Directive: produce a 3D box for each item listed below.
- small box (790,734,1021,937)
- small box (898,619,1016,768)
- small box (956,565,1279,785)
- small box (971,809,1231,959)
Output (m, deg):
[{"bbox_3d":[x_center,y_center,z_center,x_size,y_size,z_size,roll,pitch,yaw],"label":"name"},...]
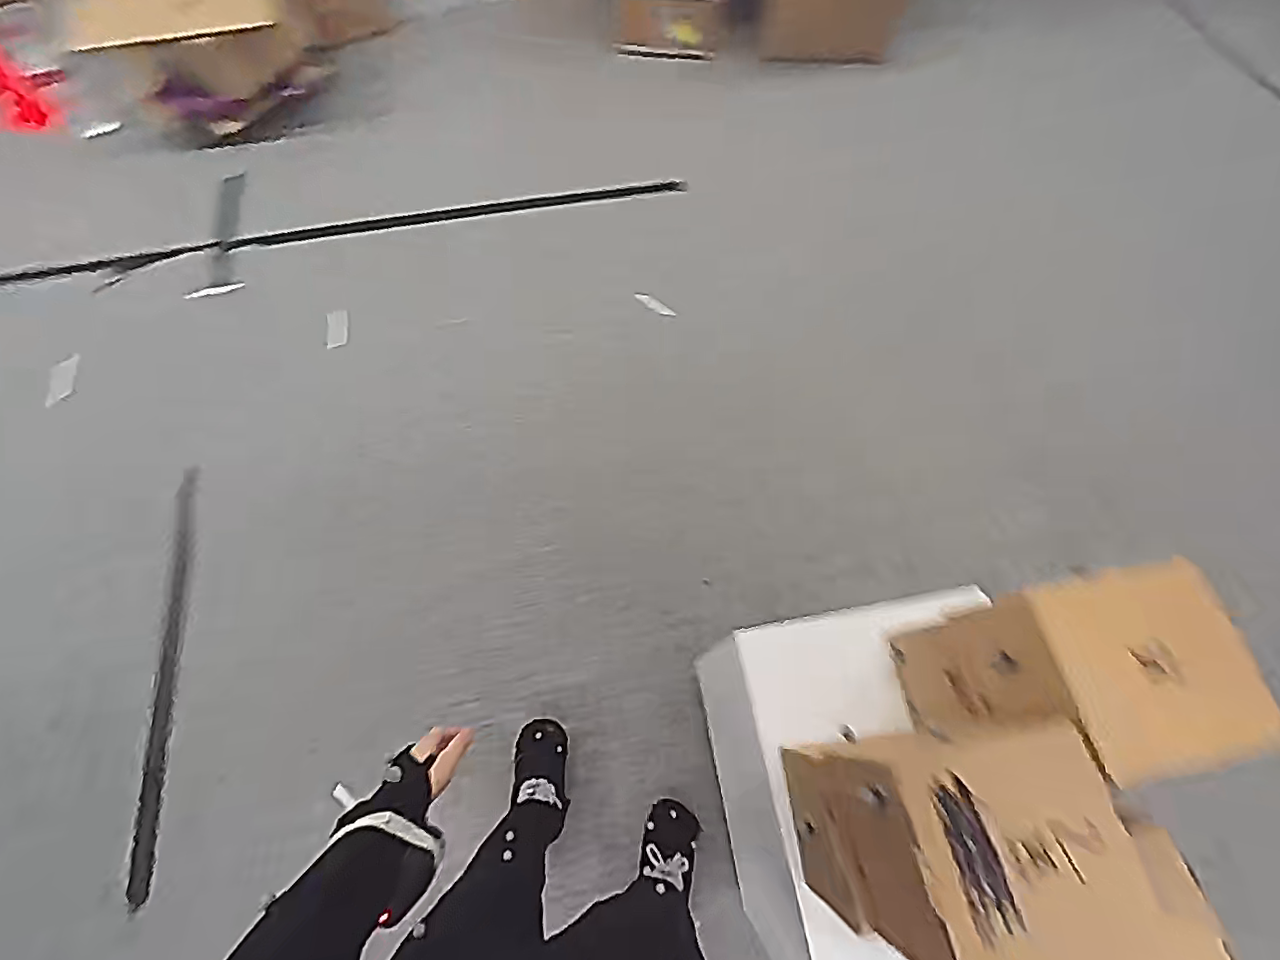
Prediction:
[{"bbox_3d":[0.293,0.407,0.649,0.179,0.176,0.168,-6,68,-4],"label":"small box"},{"bbox_3d":[0.466,0.268,0.708,0.179,0.176,0.168,-7,68,-4],"label":"small box"},{"bbox_3d":[0.466,0.200,0.561,0.179,0.176,0.168,-10,69,-5],"label":"small box"},{"bbox_3d":[0.499,0.493,0.618,0.179,0.176,0.168,-9,66,-3],"label":"small box"}]
